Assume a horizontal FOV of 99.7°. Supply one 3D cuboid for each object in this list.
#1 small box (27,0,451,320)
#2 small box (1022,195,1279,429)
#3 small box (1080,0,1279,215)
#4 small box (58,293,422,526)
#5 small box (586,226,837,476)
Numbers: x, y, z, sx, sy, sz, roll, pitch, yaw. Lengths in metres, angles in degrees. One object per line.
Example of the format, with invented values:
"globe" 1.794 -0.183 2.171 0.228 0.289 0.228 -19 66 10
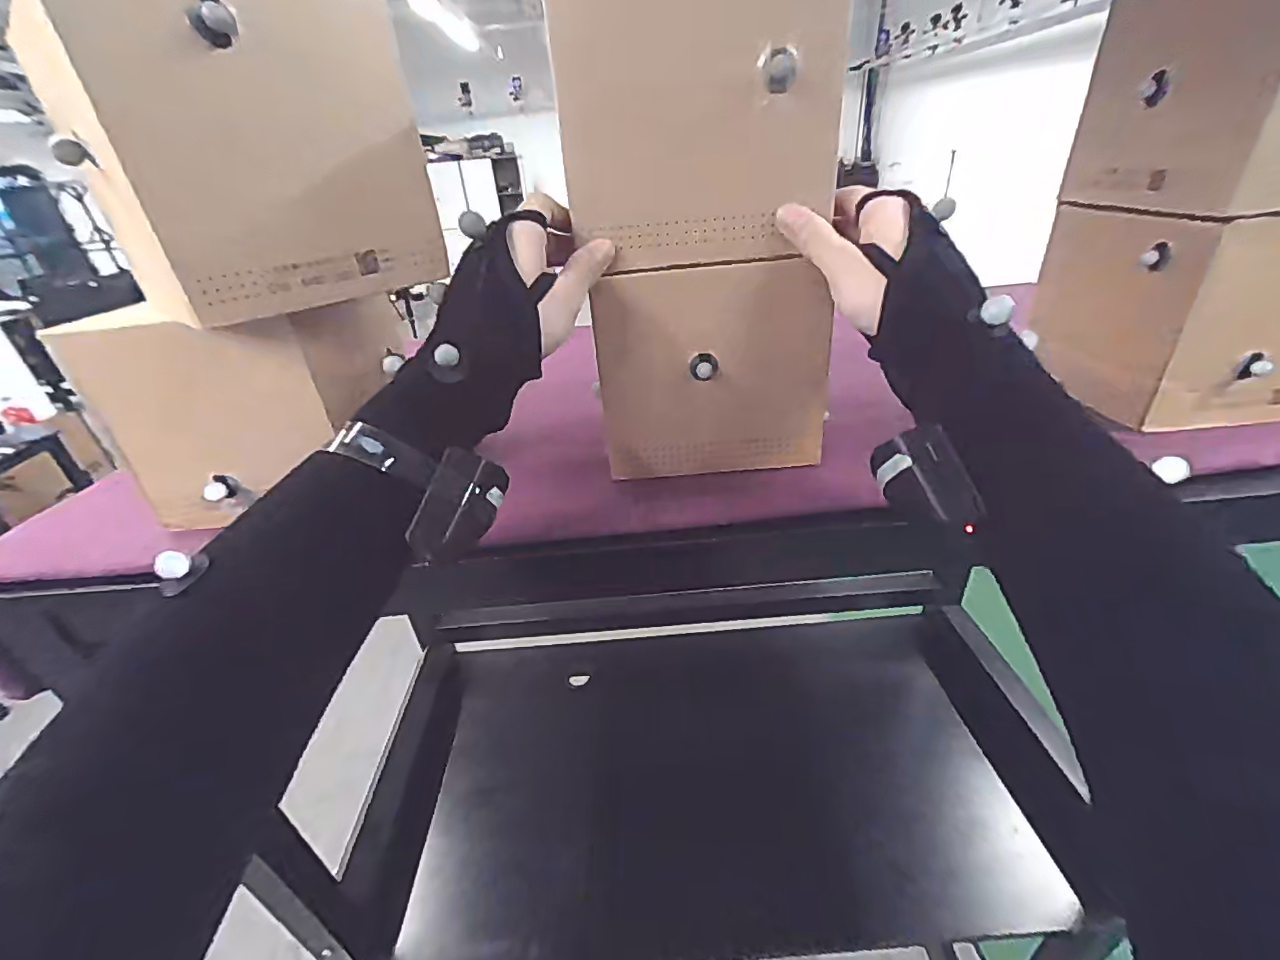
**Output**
"small box" -0.262 -0.215 0.376 0.179 0.176 0.168 21 40 39
"small box" 0.486 -0.158 0.479 0.168 0.176 0.179 -5 32 2
"small box" 0.465 -0.294 0.387 0.179 0.176 0.168 -5 32 2
"small box" -0.311 -0.079 0.475 0.168 0.176 0.179 -6 30 0
"small box" 0.056 -0.117 0.479 0.179 0.176 0.168 -5 30 3
